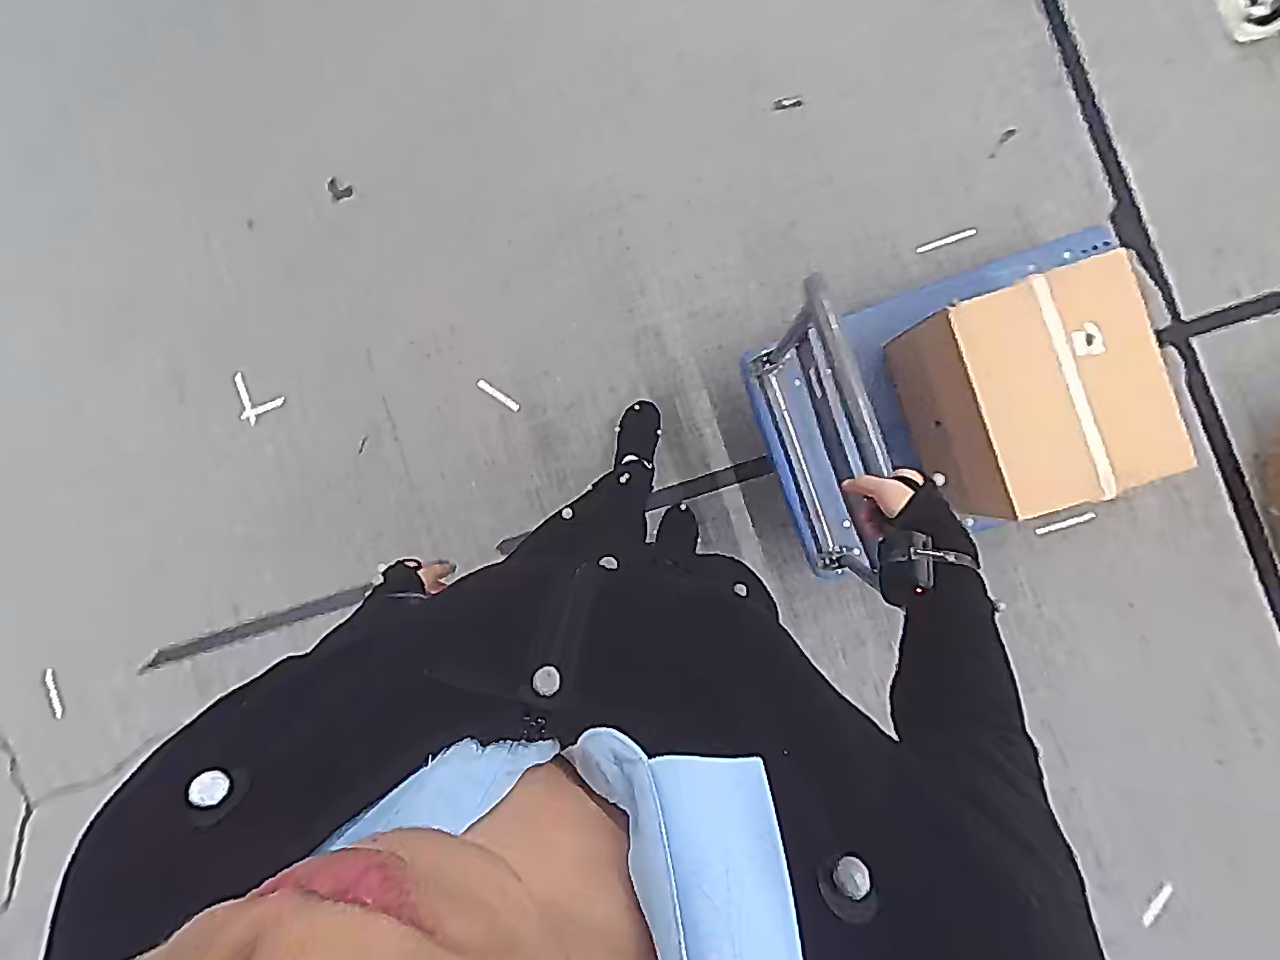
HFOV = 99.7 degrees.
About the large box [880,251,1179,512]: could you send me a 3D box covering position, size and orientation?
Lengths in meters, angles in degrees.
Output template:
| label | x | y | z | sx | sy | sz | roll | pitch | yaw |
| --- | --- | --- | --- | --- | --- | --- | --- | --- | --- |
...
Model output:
| label | x | y | z | sx | sy | sz | roll | pitch | yaw |
| --- | --- | --- | --- | --- | --- | --- | --- | --- | --- |
| large box | 0.754 | -0.174 | 1.113 | 0.320 | 0.320 | 0.408 | -18 | 88 | 3 |
